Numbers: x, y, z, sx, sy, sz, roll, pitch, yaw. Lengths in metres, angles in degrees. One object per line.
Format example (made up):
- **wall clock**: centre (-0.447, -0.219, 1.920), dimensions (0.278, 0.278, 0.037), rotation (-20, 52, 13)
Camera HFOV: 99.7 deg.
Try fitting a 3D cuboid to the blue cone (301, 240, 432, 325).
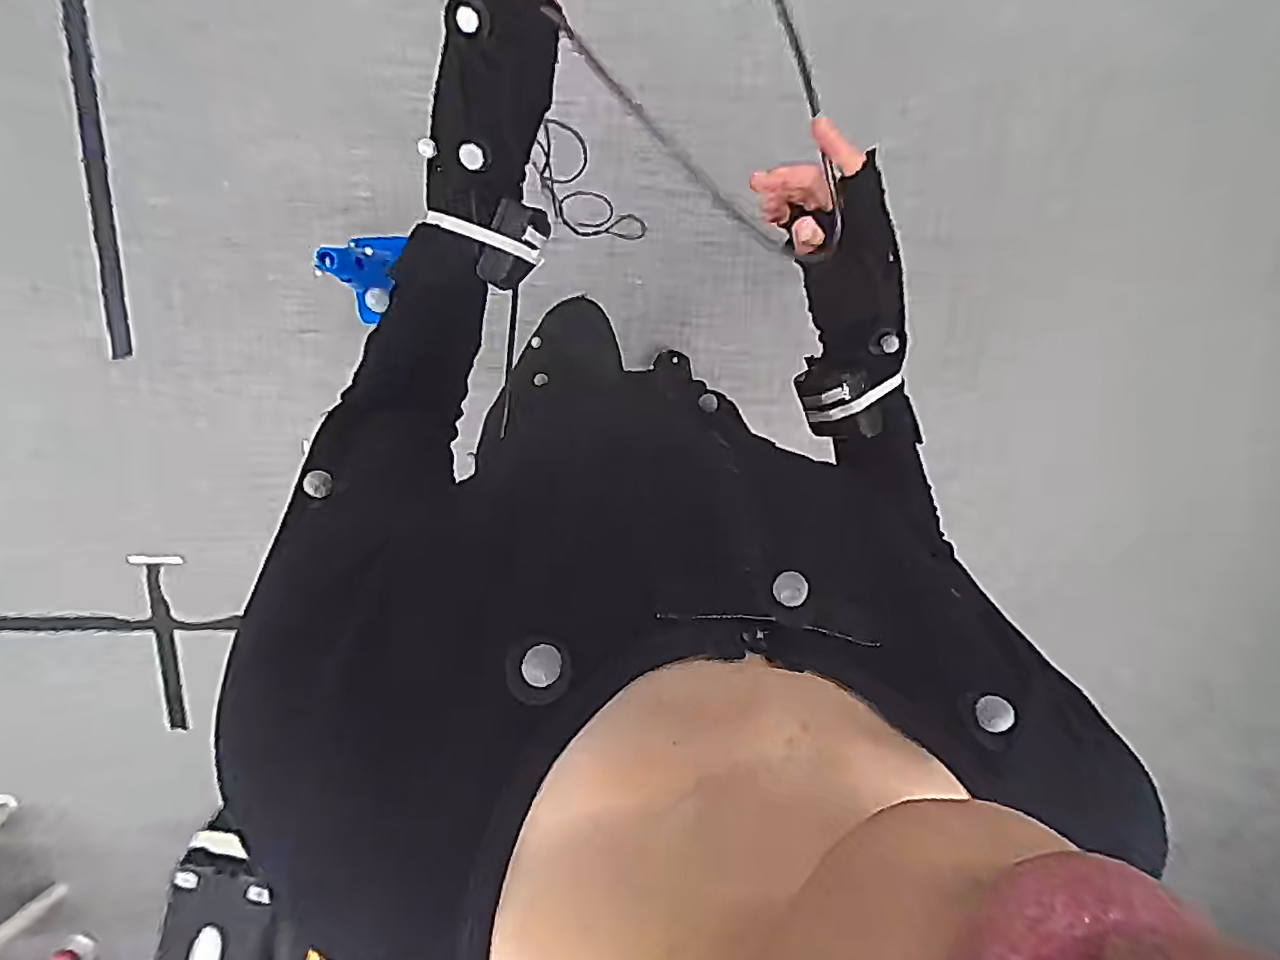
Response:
- **blue cone**: centre (-0.596, -0.438, 1.155), dimensions (0.192, 0.380, 0.193), rotation (-2, 105, -3)
